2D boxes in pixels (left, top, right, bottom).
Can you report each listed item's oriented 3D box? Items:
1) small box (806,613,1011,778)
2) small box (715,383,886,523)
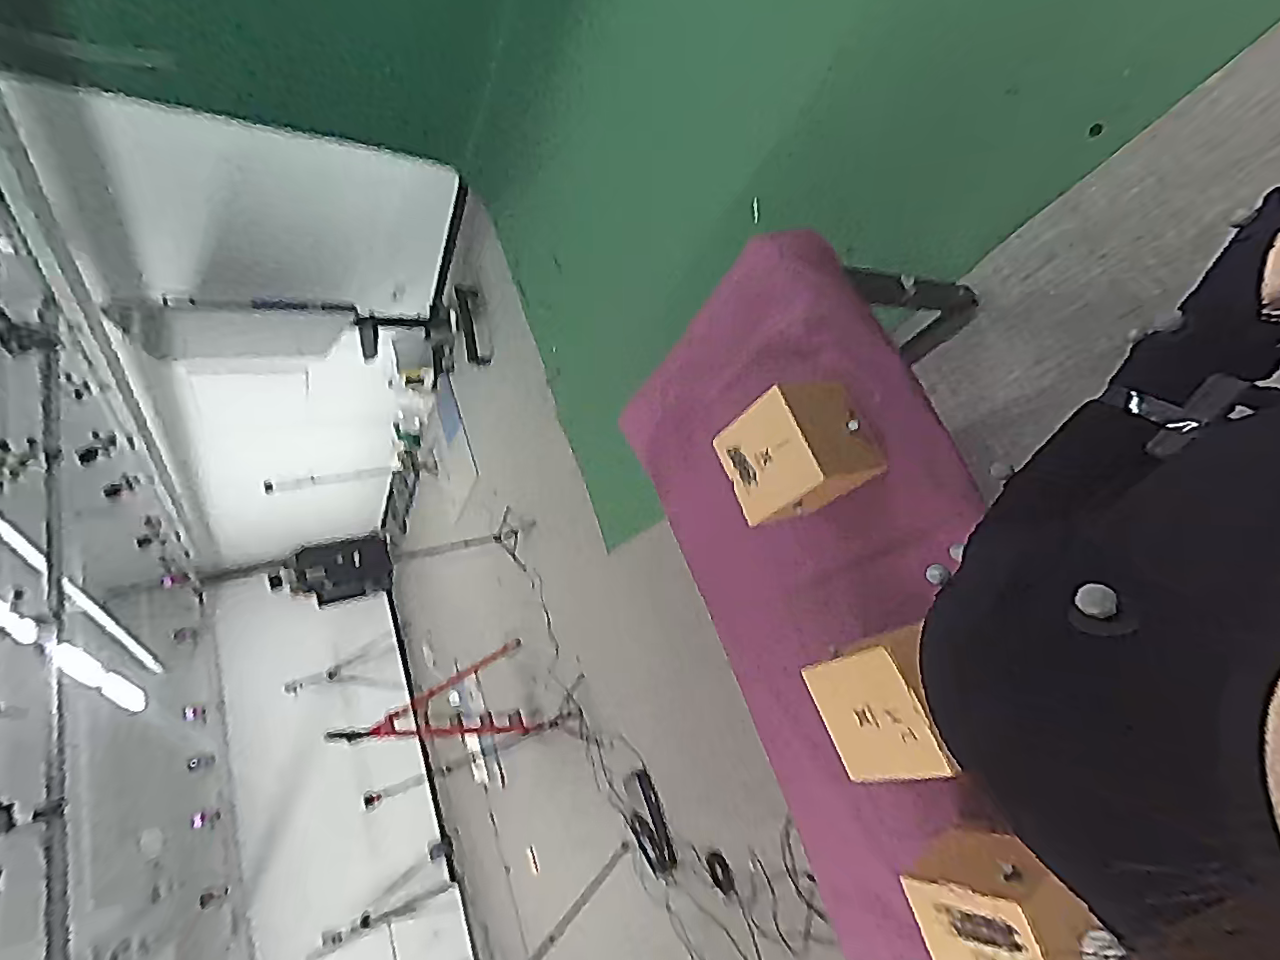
[{"bbox_3d":[0.389,0.315,0.795,0.179,0.176,0.168,-48,59,50],"label":"small box"},{"bbox_3d":[0.263,-0.045,0.898,0.179,0.176,0.168,-45,62,49],"label":"small box"}]
